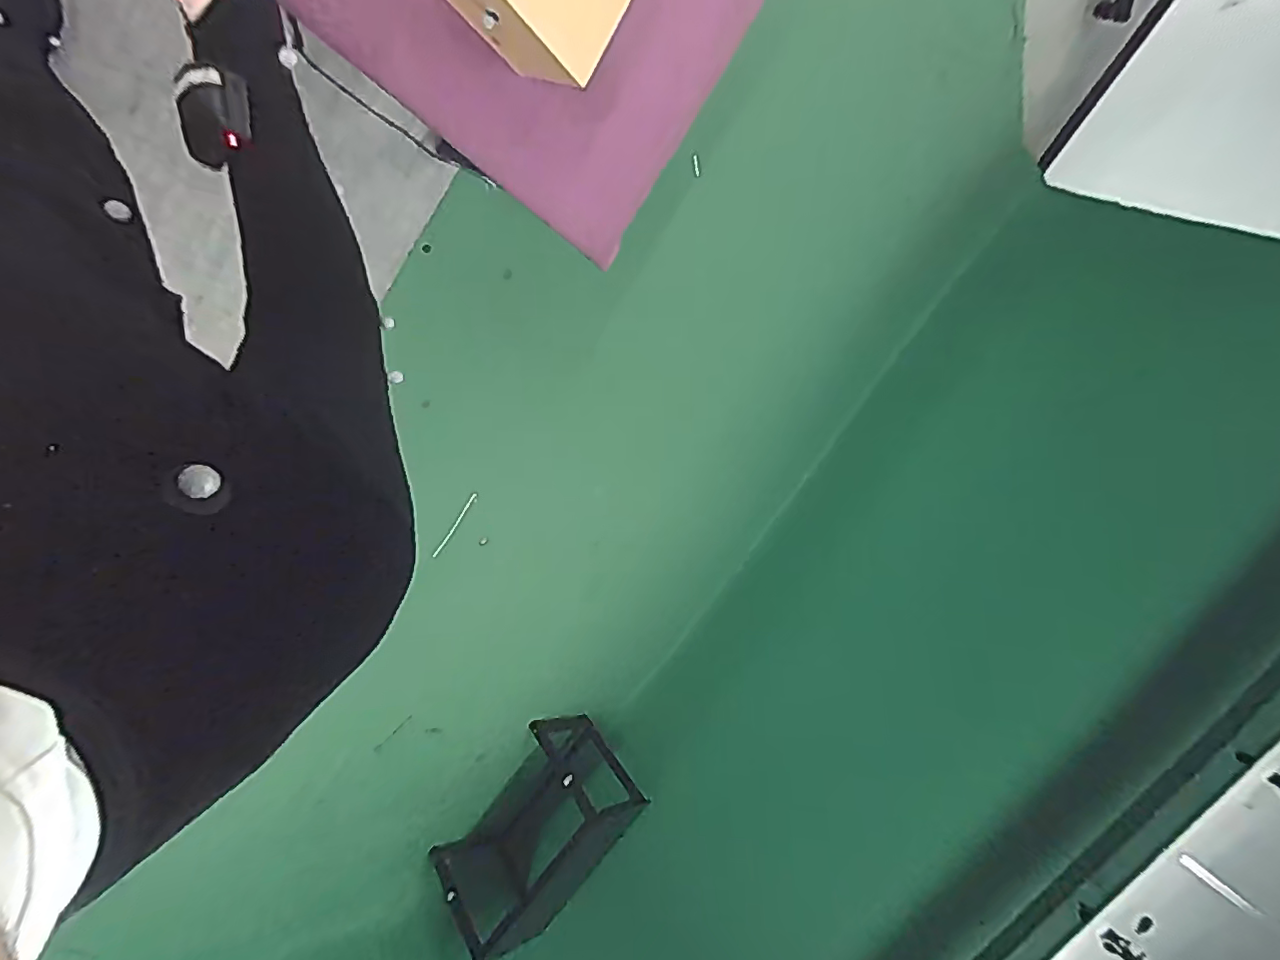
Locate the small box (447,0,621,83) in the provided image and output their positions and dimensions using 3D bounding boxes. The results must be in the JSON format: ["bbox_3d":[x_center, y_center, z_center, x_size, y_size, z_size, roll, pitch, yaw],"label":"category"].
[{"bbox_3d":[-0.133,-0.620,0.640,0.168,0.176,0.179,19,107,-52],"label":"small box"}]
